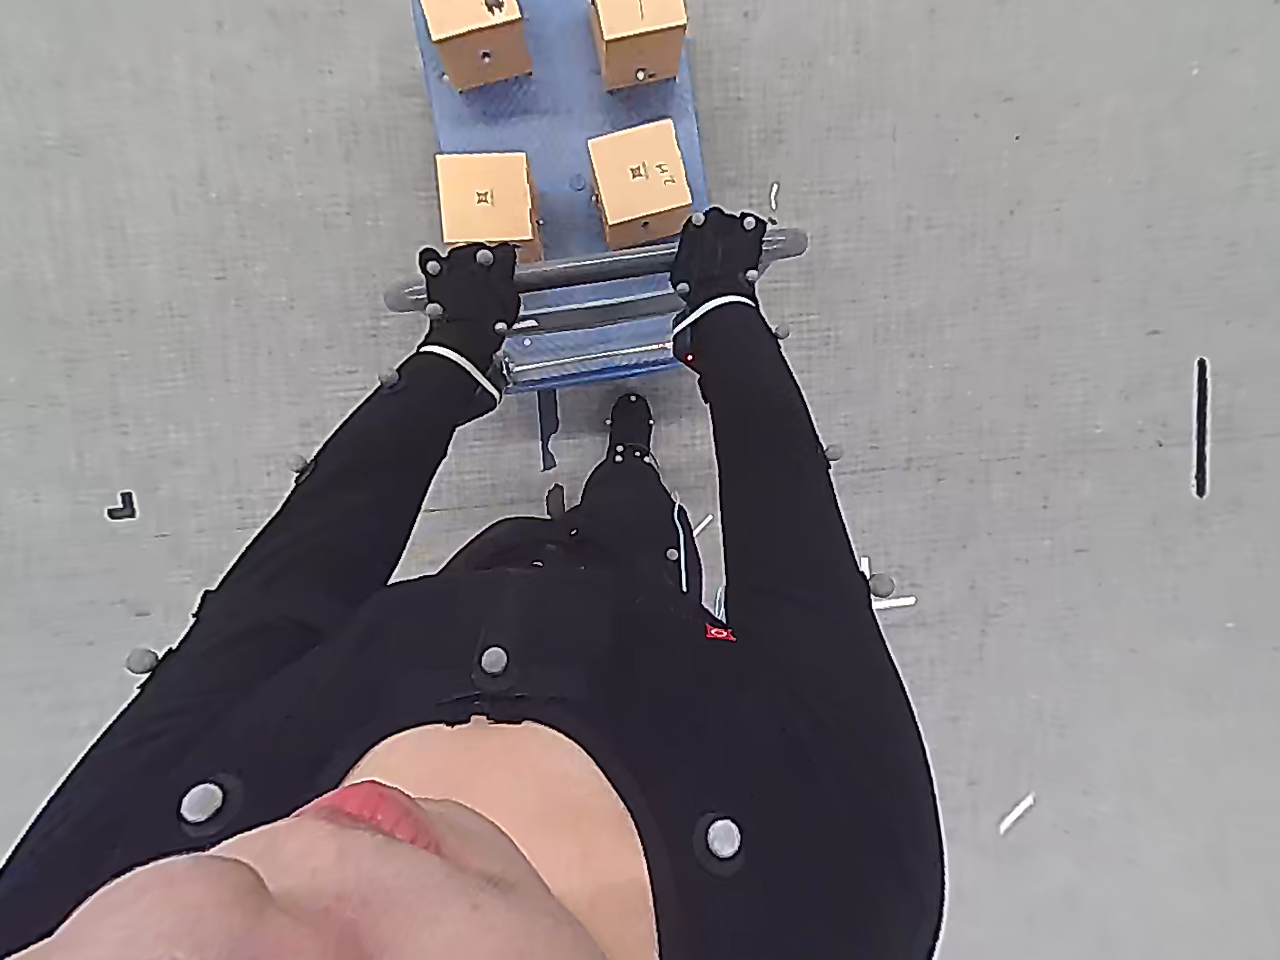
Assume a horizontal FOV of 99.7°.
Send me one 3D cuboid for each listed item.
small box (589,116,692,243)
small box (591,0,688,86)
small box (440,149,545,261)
[{"bbox_3d":[0.000,-0.623,1.145,0.179,0.176,0.168,-15,97,-1],"label":"small box"},{"bbox_3d":[-0.007,-0.959,1.105,0.168,0.176,0.179,-12,98,-1],"label":"small box"},{"bbox_3d":[-0.302,-0.570,1.138,0.179,0.176,0.168,-4,97,-4],"label":"small box"}]
